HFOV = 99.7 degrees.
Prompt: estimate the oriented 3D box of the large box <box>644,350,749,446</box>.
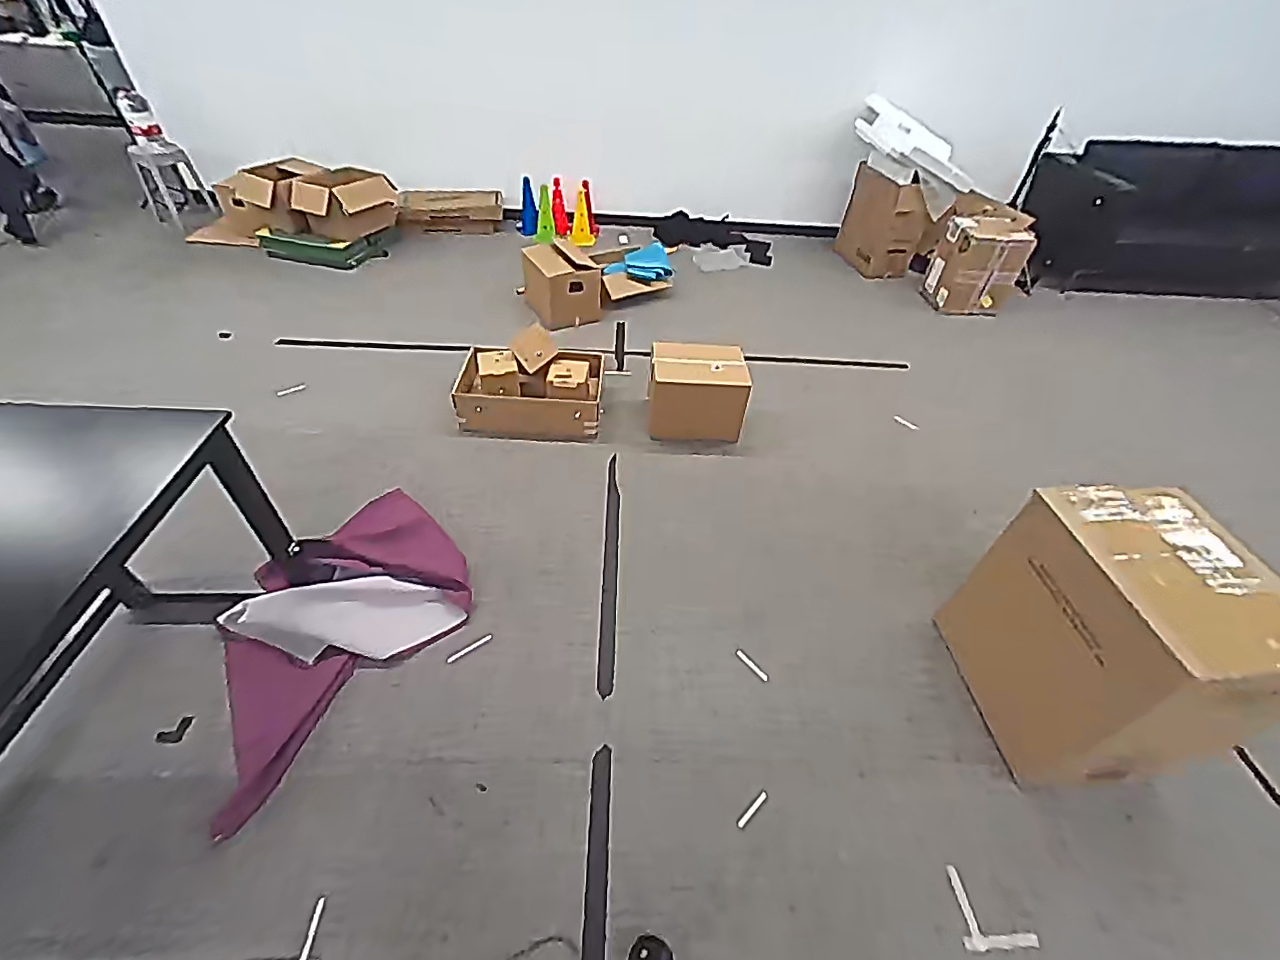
[{"bbox_3d":[0.236,-0.365,2.429,0.408,0.320,0.320,2,44,-5],"label":"large box"}]
